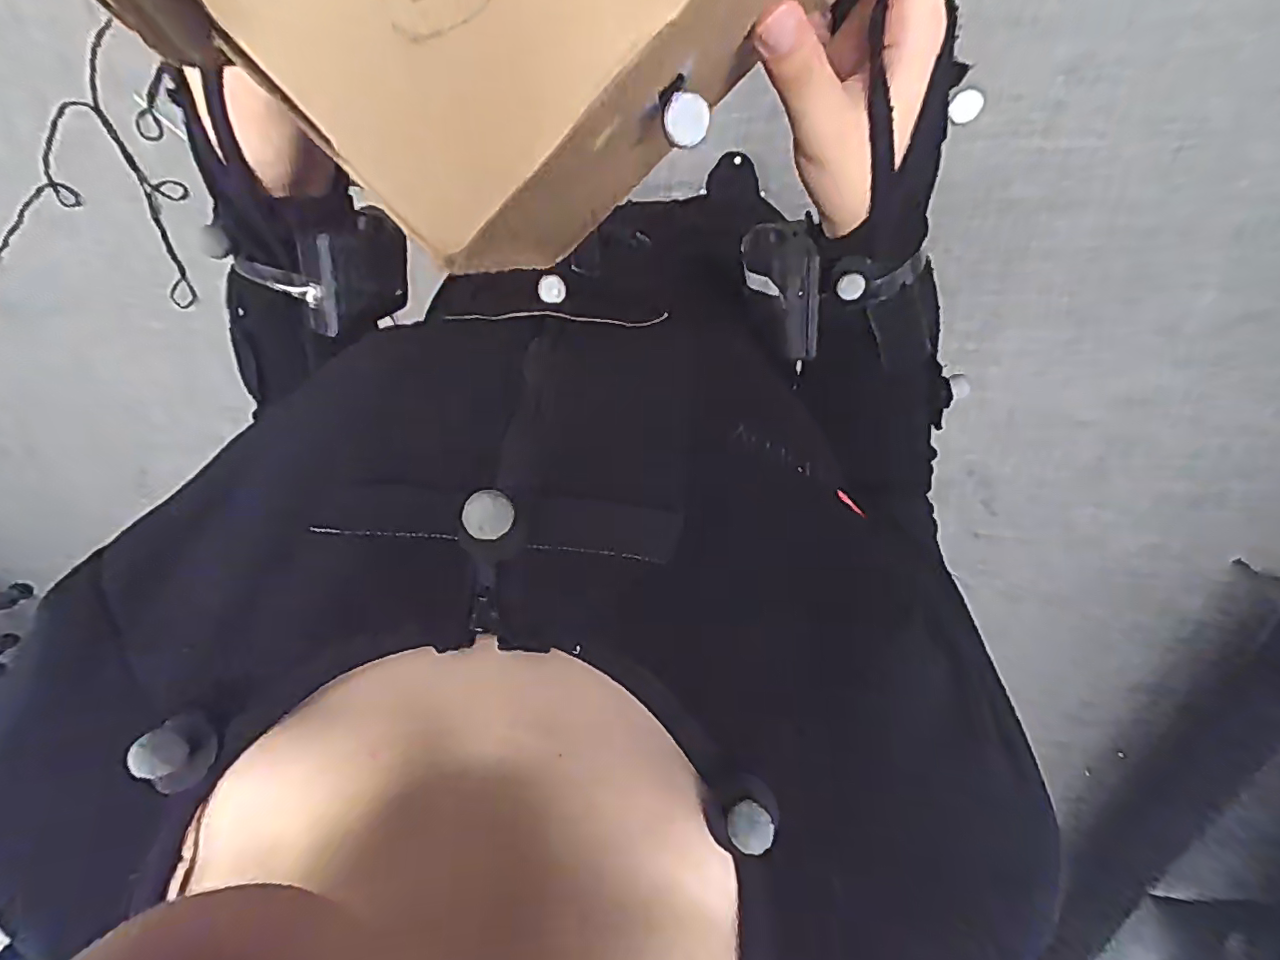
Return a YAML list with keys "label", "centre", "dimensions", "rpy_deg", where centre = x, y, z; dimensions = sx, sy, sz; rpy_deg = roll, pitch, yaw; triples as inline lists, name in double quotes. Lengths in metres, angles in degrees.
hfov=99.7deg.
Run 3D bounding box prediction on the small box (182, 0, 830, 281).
- label: "small box"
  centre: [-0.032, -0.185, 0.164]
  dimensions: [0.179, 0.176, 0.168]
  rpy_deg: [-39, 107, 15]
